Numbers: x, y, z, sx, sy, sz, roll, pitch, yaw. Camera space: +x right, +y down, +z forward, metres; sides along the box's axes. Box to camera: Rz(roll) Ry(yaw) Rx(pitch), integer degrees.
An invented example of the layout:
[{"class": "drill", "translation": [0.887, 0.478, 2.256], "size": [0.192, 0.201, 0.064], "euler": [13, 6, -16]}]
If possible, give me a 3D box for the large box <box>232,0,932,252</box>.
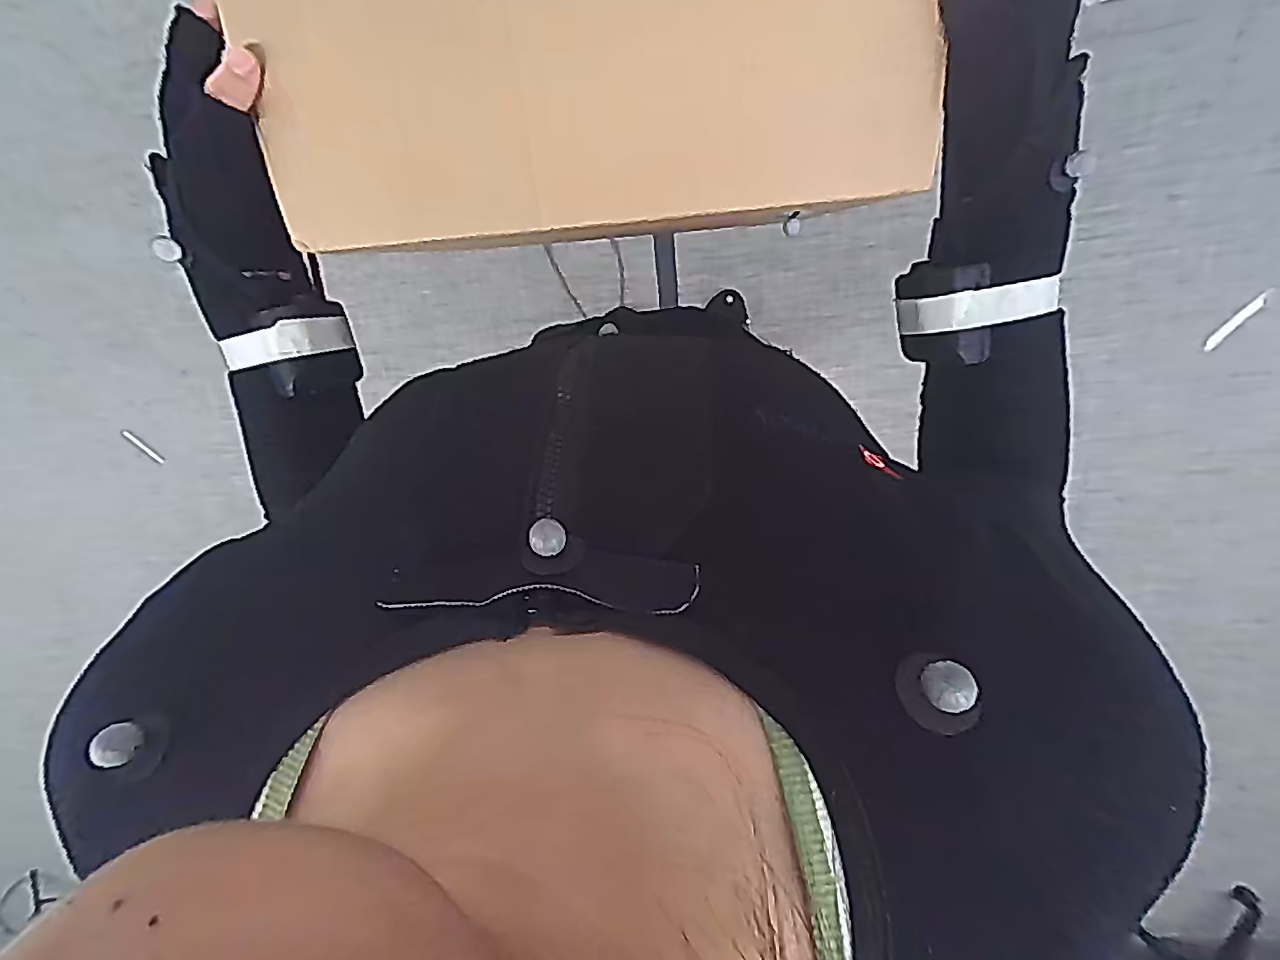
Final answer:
[{"class": "large box", "translation": [-0.032, -0.369, 0.427], "size": [0.408, 0.320, 0.320], "euler": [-4, 113, 4]}]
